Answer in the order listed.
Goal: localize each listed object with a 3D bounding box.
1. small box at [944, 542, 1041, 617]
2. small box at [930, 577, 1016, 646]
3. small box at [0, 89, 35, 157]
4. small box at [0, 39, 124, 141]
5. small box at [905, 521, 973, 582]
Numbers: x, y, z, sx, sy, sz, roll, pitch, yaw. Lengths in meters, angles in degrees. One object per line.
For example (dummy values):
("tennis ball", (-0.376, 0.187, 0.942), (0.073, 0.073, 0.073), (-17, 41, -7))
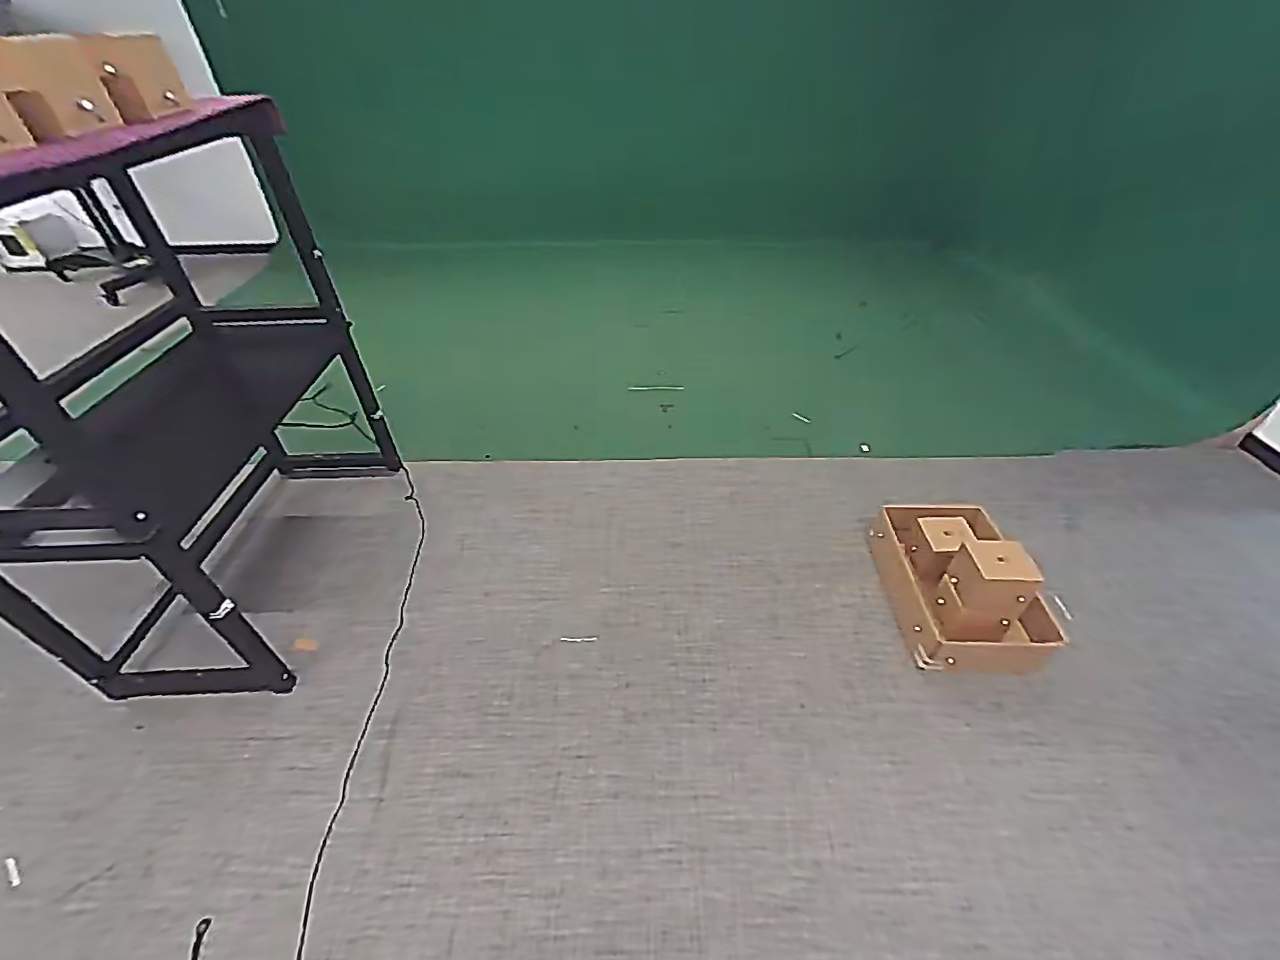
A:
("small box", (1.101, 0.315, 1.702), (0.179, 0.176, 0.168), (1, 39, 3))
("small box", (1.098, 0.441, 1.807), (0.179, 0.176, 0.168), (0, 41, 1))
("small box", (-1.294, -0.675, 0.974), (0.179, 0.176, 0.168), (-3, 41, 0))
("small box", (-1.300, -0.840, 1.166), (0.179, 0.176, 0.168), (-1, 41, 0))
("small box", (1.106, 0.267, 2.002), (0.179, 0.176, 0.168), (0, 42, 1))
